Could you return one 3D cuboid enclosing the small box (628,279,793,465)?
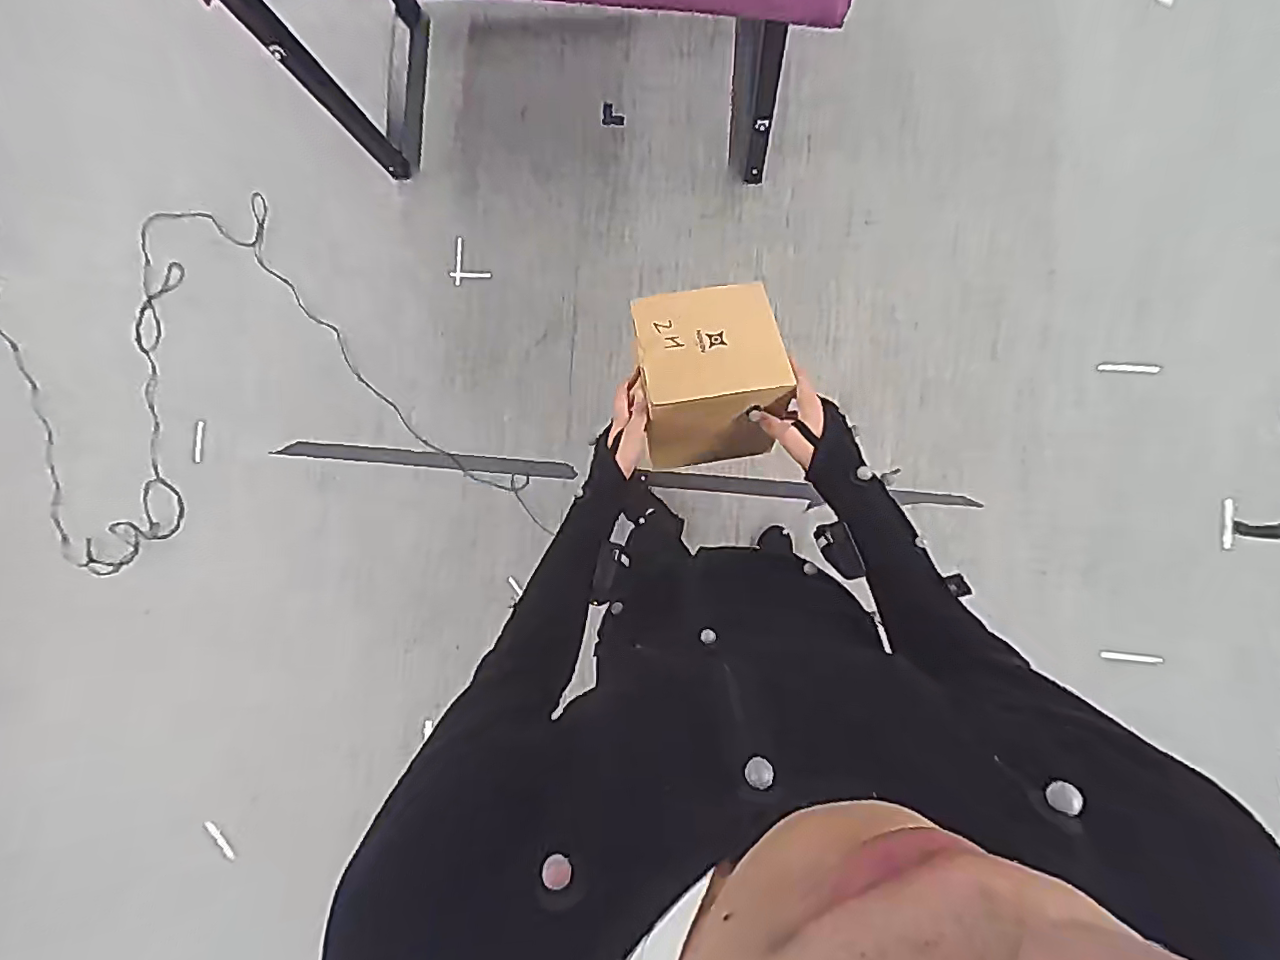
[{"bbox_3d":[0.082,-0.136,0.723,0.179,0.176,0.168,-9,65,-2],"label":"small box"}]
